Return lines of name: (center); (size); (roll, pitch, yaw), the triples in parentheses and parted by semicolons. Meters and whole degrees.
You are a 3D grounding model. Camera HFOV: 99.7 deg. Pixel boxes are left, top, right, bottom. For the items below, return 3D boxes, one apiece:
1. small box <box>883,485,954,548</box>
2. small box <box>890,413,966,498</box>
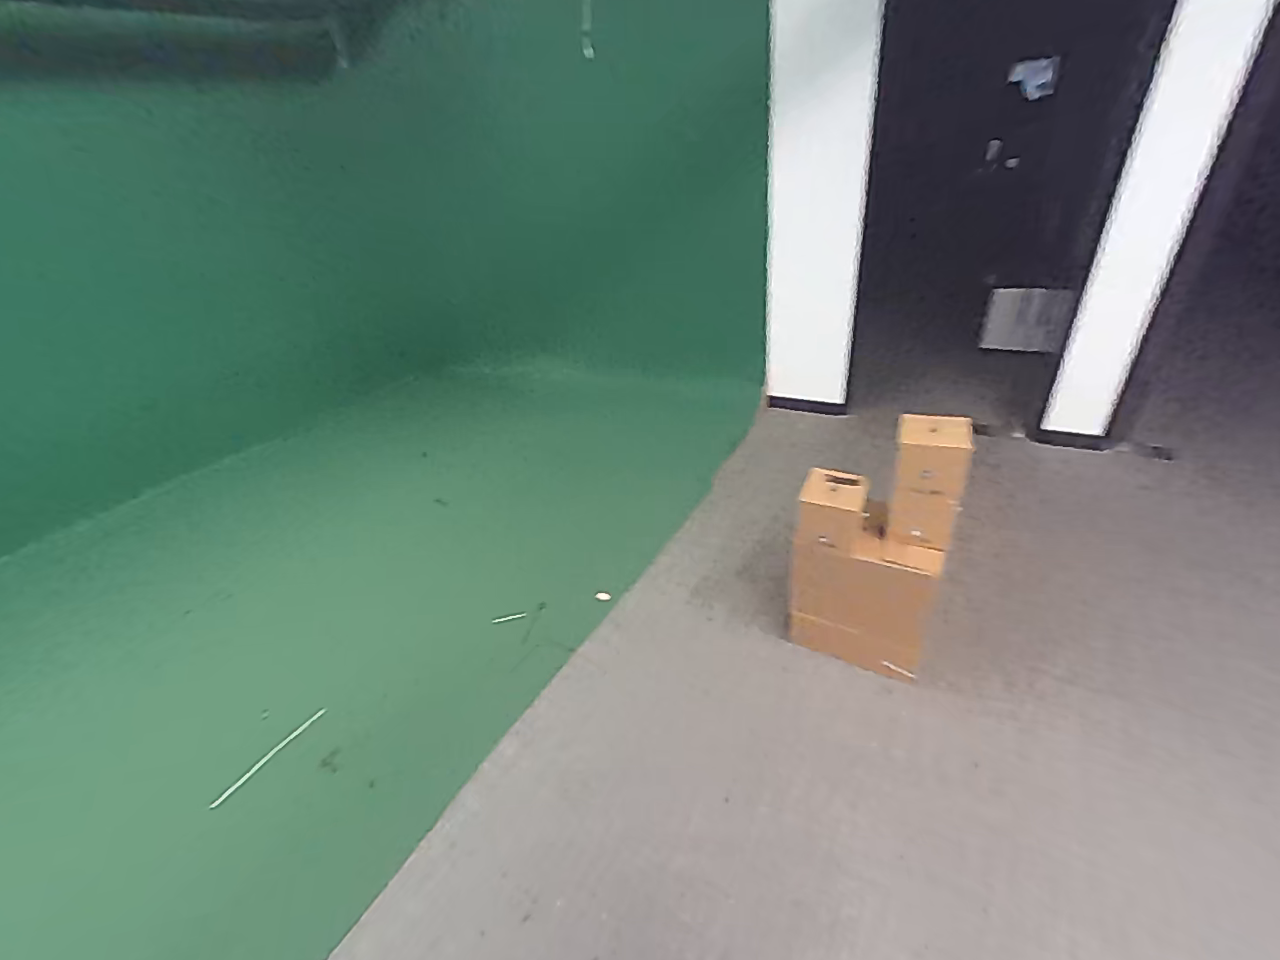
small box: (0.816, 0.070, 1.582); (0.168, 0.176, 0.179); (9, 37, 27)
small box: (0.794, -0.068, 1.495); (0.168, 0.176, 0.179); (9, 36, 25)
